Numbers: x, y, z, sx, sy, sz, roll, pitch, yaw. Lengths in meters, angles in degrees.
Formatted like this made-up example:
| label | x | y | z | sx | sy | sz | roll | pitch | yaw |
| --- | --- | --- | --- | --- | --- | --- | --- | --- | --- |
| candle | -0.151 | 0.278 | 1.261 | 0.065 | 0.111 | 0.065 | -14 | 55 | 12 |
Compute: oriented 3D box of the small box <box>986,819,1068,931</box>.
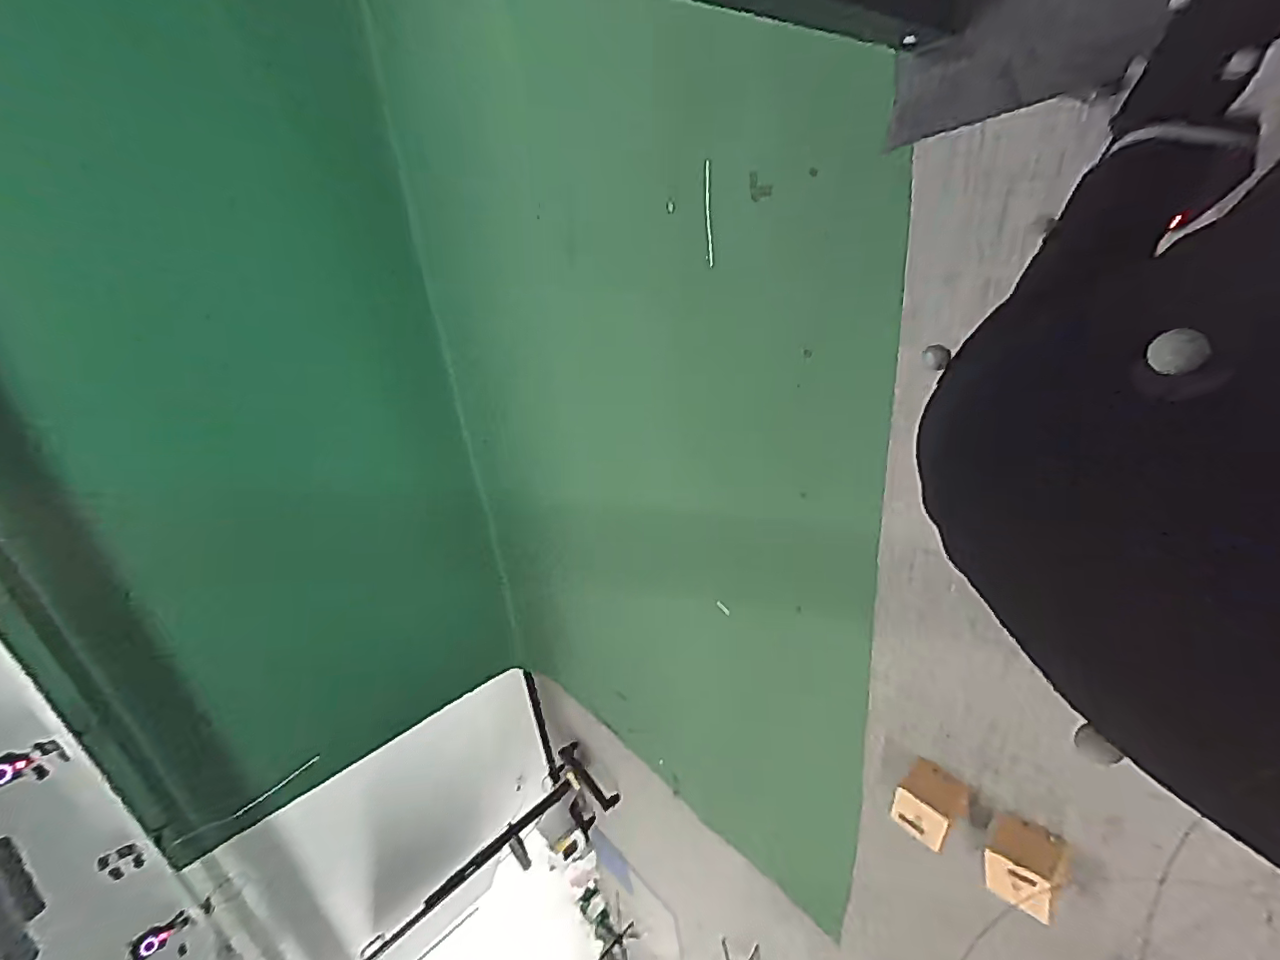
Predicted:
| label | x | y | z | sx | sy | sz | roll | pitch | yaw |
| --- | --- | --- | --- | --- | --- | --- | --- | --- | --- |
| small box | 1.168 | 1.181 | 1.633 | 0.168 | 0.176 | 0.179 | 10 | 118 | 50 |
